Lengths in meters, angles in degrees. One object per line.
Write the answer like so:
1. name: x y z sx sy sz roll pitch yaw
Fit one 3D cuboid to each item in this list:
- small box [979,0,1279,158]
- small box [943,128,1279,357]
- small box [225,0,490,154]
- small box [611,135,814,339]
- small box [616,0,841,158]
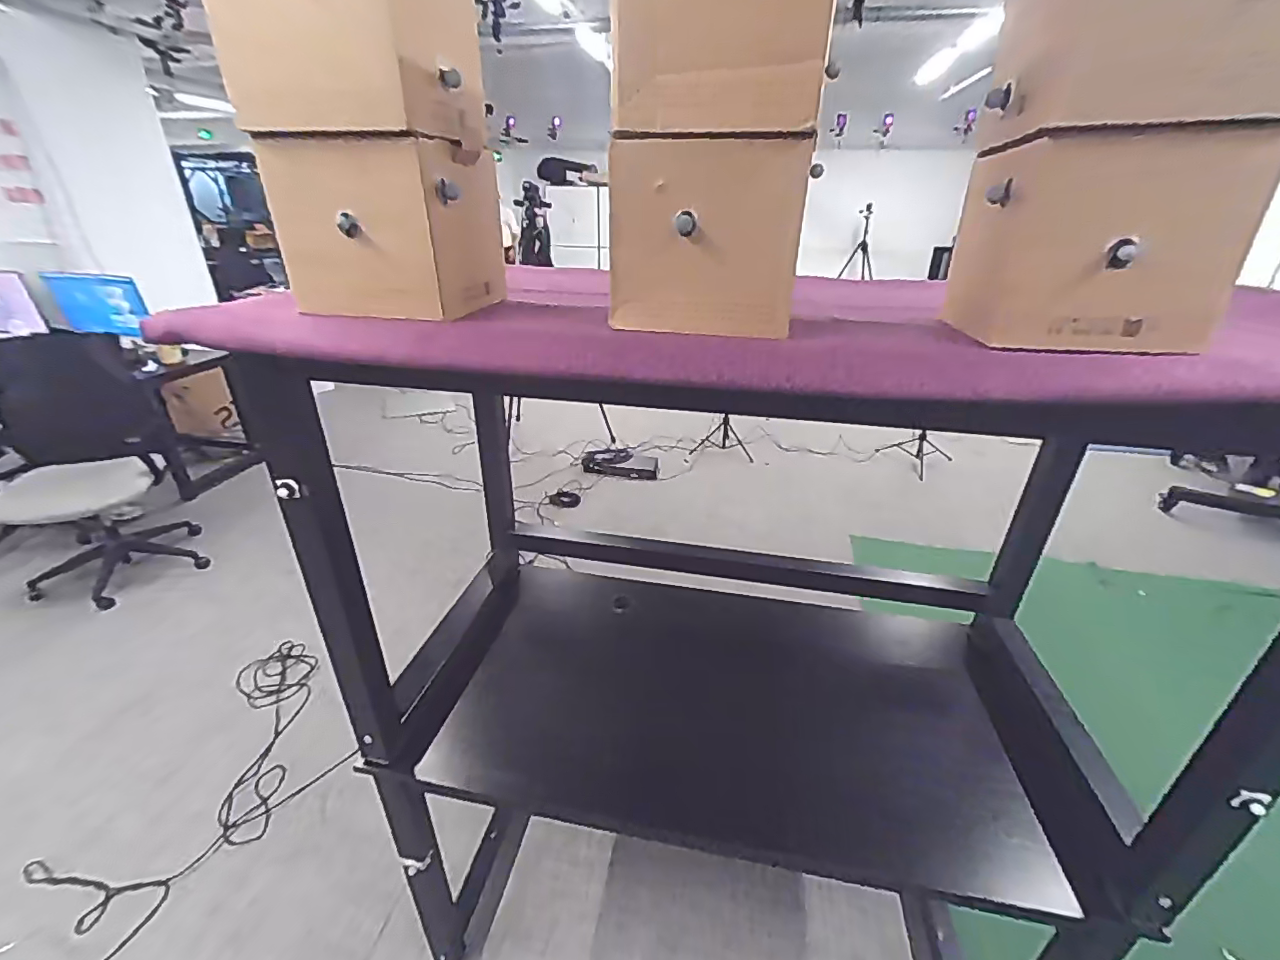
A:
1. small box: 0.406 -0.358 0.427 0.179 0.176 0.168 4 24 11
2. small box: 0.411 -0.216 0.509 0.168 0.176 0.179 6 25 12
3. small box: -0.263 -0.421 0.520 0.179 0.176 0.168 6 28 9
4. small box: 0.076 -0.246 0.559 0.179 0.176 0.168 6 28 11
5. small box: 0.082 -0.390 0.481 0.179 0.176 0.168 9 28 13
